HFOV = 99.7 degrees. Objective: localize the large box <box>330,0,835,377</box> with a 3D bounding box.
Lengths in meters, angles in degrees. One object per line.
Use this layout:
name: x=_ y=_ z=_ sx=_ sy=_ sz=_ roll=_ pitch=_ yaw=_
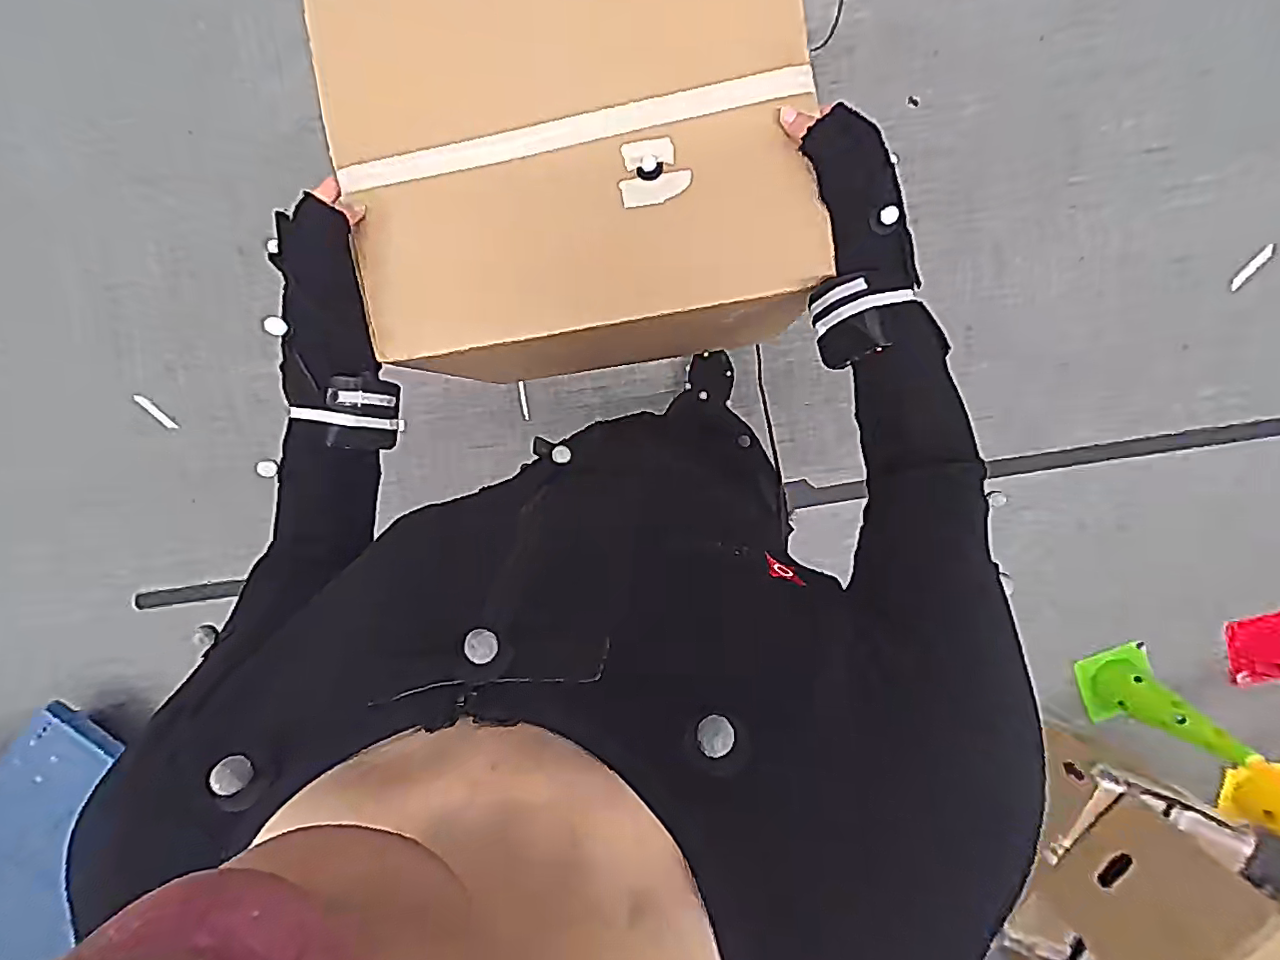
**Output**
large box: x=-0.041 y=-0.311 z=0.606 sx=0.408 sy=0.320 sz=0.320 roll=-8 pitch=96 yaw=6
